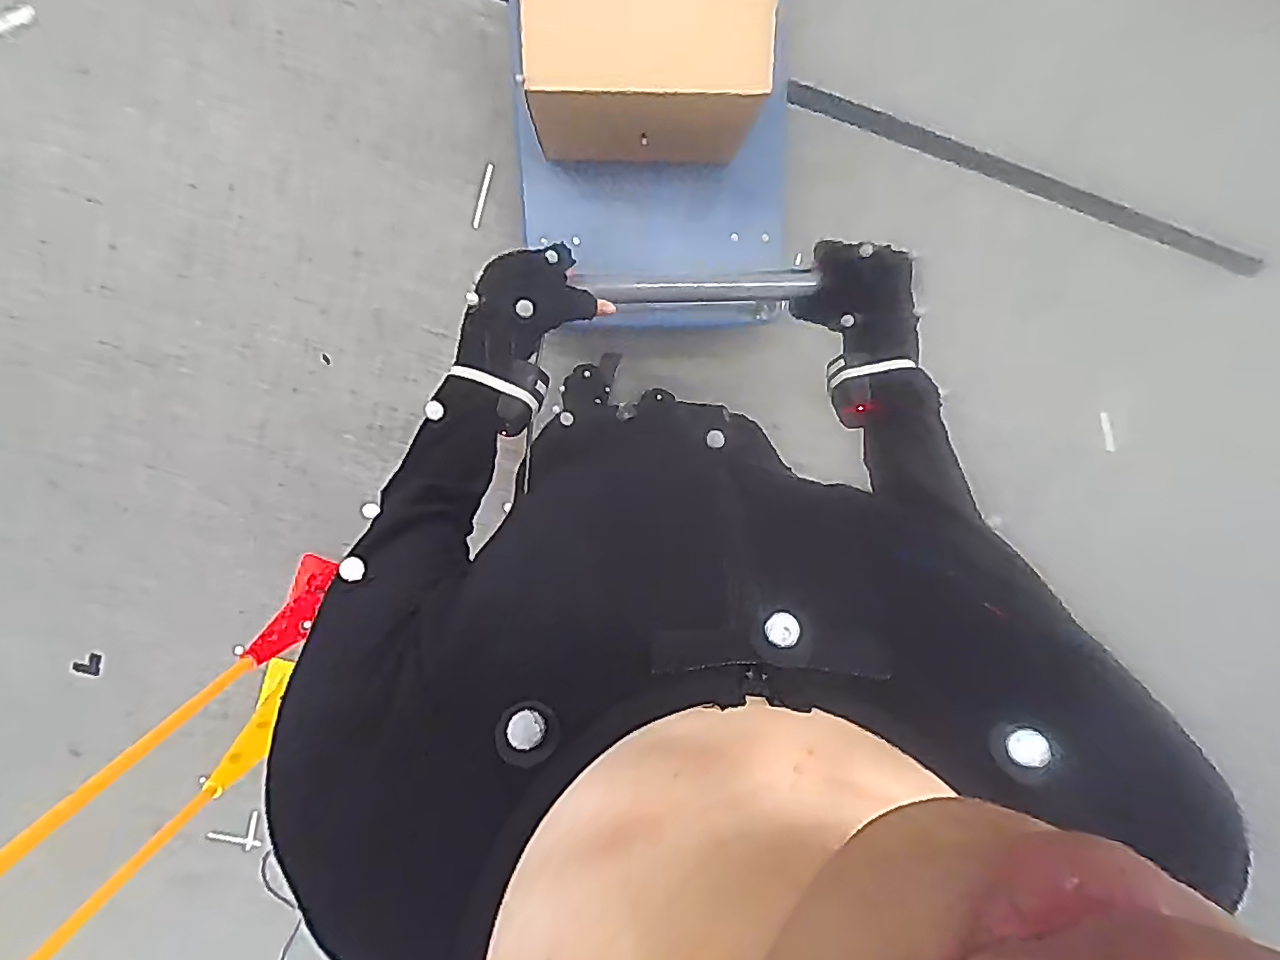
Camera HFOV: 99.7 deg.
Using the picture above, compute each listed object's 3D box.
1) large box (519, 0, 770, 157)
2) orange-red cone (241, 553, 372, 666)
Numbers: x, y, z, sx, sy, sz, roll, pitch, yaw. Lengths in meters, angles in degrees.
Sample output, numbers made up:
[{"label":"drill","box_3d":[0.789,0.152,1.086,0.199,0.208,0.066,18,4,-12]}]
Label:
[{"label":"large box","box_3d":[0.003,-0.811,0.990,0.408,0.320,0.320,-1,102,-2]},{"label":"orange-red cone","box_3d":[-0.848,0.346,1.324,0.198,0.360,0.199,24,98,-9]}]
